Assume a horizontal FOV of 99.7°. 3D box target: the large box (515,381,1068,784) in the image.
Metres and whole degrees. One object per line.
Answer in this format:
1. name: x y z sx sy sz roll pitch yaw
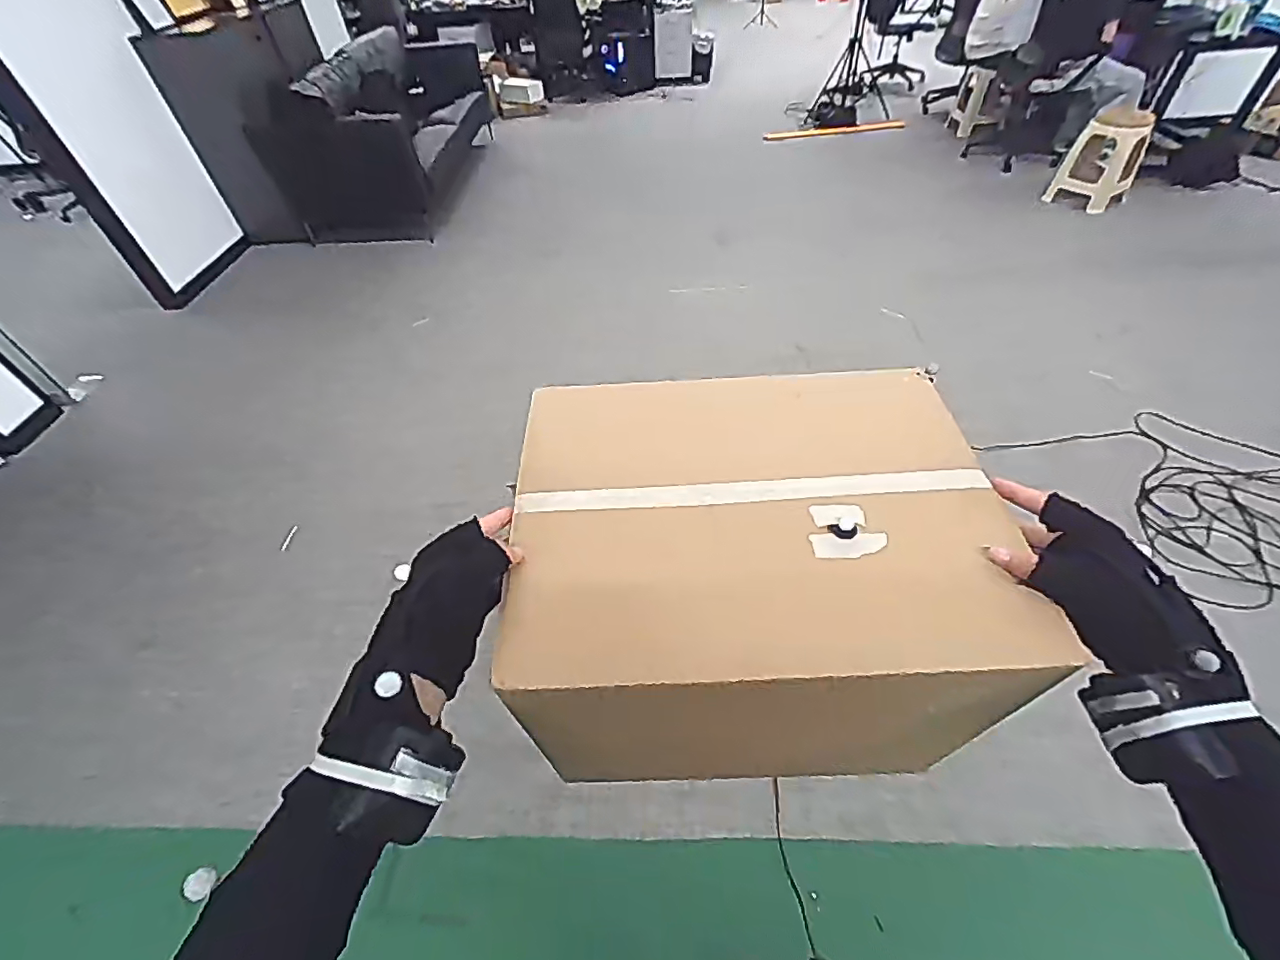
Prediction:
1. large box: 0.105 0.117 0.589 0.408 0.320 0.320 -3 50 0
